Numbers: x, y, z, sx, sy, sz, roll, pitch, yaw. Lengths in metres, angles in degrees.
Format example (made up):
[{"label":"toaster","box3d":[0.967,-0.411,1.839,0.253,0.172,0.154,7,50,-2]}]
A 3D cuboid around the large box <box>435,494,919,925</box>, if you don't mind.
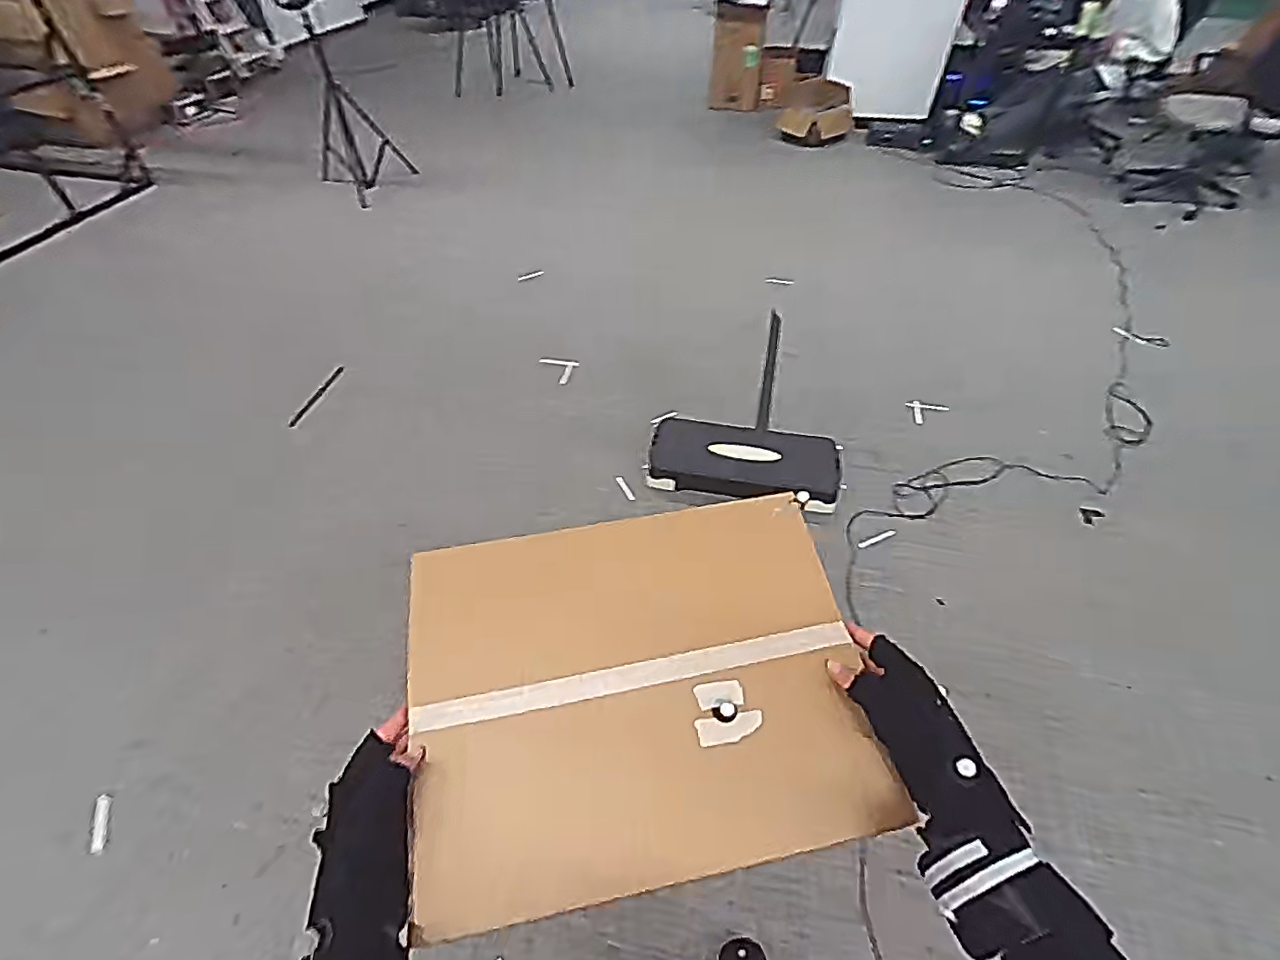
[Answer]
[{"label":"large box","box3d":[0.008,0.250,0.628,0.408,0.320,0.320,-8,61,-7]}]
